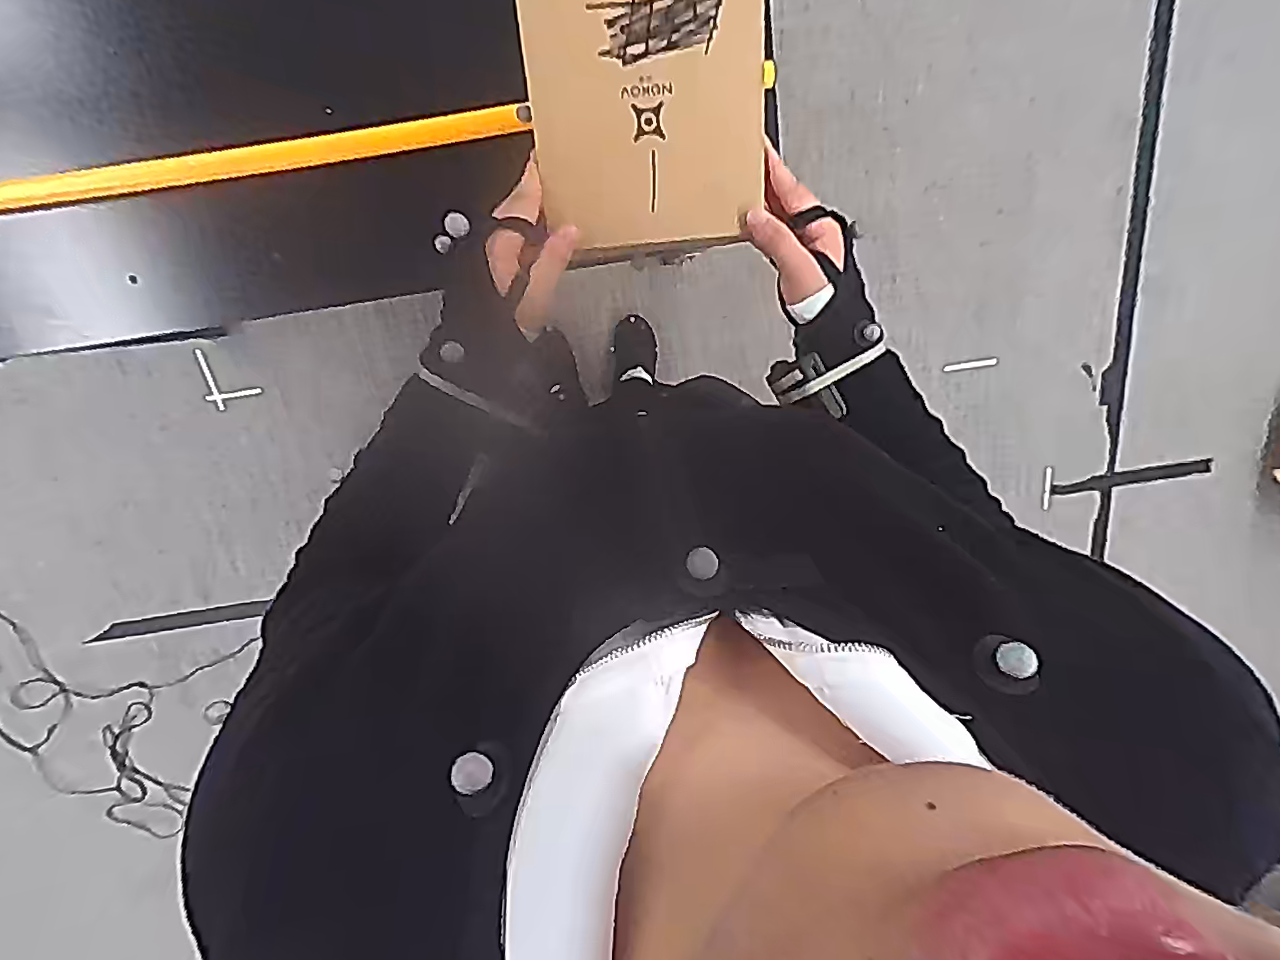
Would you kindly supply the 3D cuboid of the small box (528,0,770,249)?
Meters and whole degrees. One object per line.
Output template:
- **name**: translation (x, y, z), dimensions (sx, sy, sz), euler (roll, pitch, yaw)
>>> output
- **small box**: translation (0.002, -0.296, 0.450), dimensions (0.168, 0.176, 0.179), euler (-6, 111, -3)
